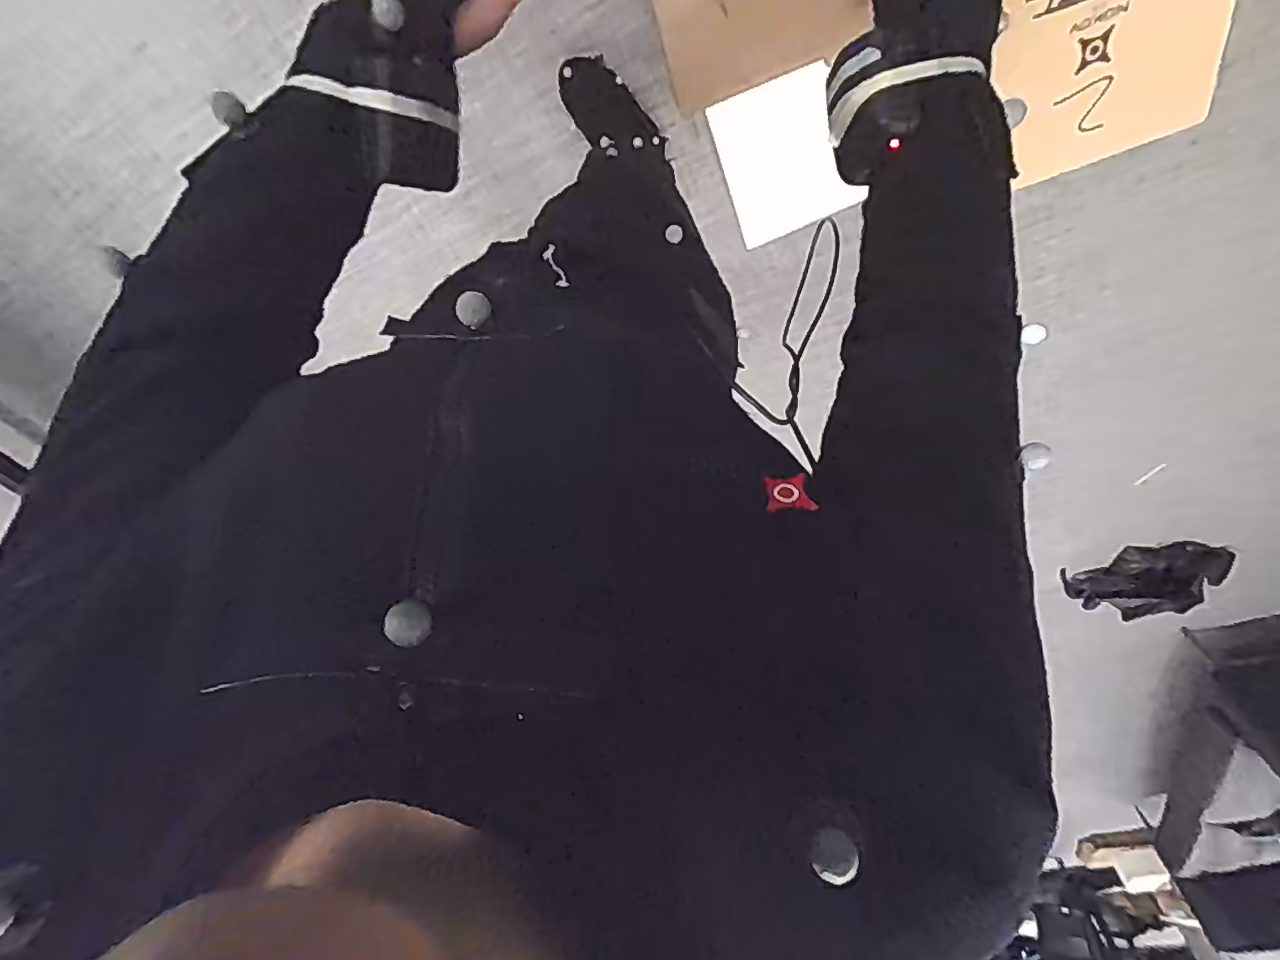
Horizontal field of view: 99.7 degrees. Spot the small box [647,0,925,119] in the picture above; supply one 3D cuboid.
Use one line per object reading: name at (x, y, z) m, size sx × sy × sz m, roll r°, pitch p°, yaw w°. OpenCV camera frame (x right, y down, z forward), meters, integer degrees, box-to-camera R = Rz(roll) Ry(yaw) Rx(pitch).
small box at (0.089, -0.404, 0.405) m, size 0.179 × 0.176 × 0.168 m, roll -15°, pitch 127°, yaw 13°
